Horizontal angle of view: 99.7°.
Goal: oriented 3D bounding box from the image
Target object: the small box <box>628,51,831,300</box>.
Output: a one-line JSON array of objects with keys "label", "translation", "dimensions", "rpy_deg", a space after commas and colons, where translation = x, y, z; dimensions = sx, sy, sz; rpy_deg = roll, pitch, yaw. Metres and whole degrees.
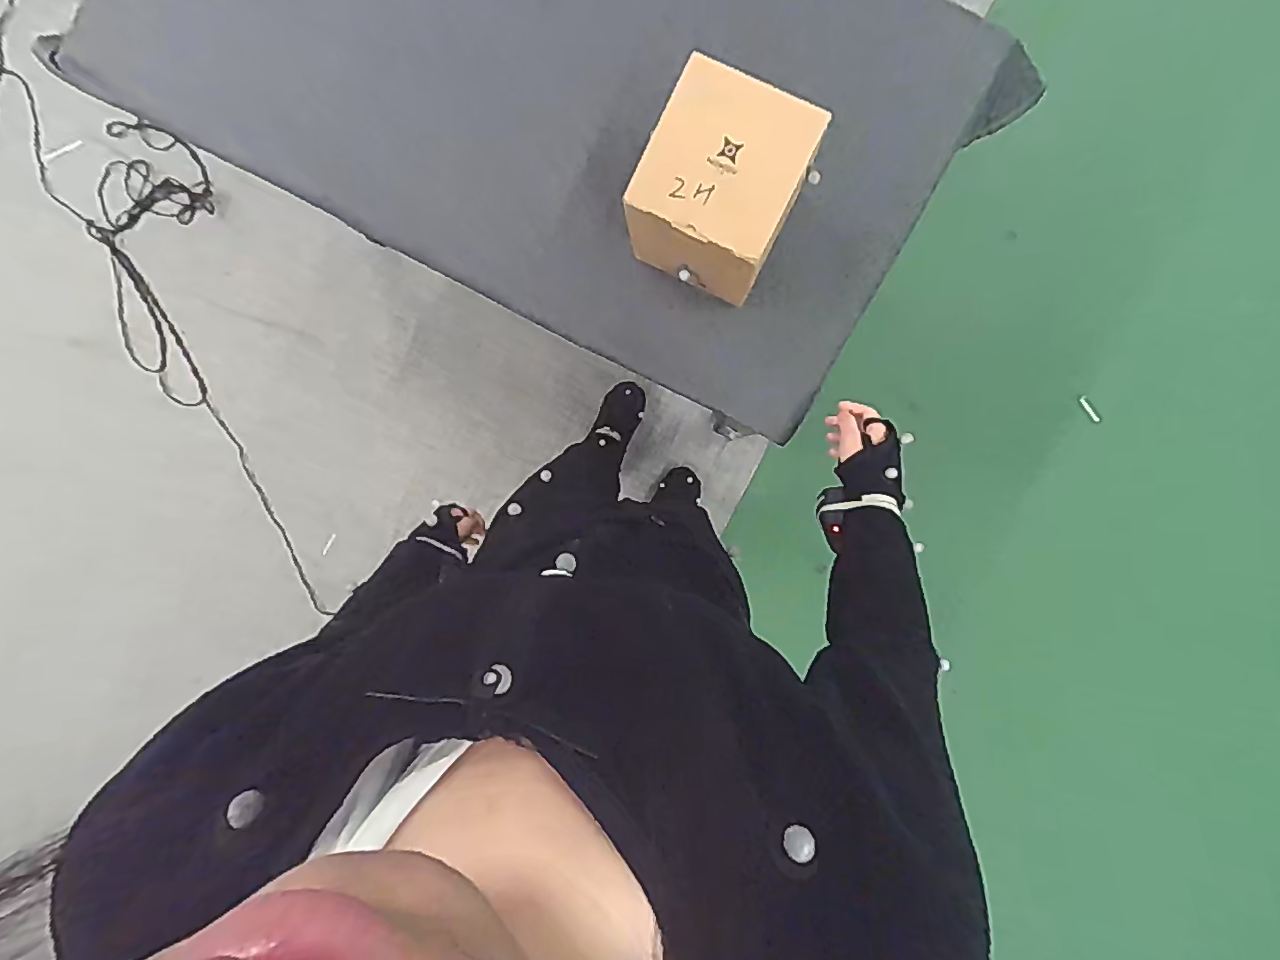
[{"label": "small box", "translation": [0.101, -0.351, 0.660], "dimensions": [0.168, 0.176, 0.179], "rpy_deg": [27, 95, 4]}]
